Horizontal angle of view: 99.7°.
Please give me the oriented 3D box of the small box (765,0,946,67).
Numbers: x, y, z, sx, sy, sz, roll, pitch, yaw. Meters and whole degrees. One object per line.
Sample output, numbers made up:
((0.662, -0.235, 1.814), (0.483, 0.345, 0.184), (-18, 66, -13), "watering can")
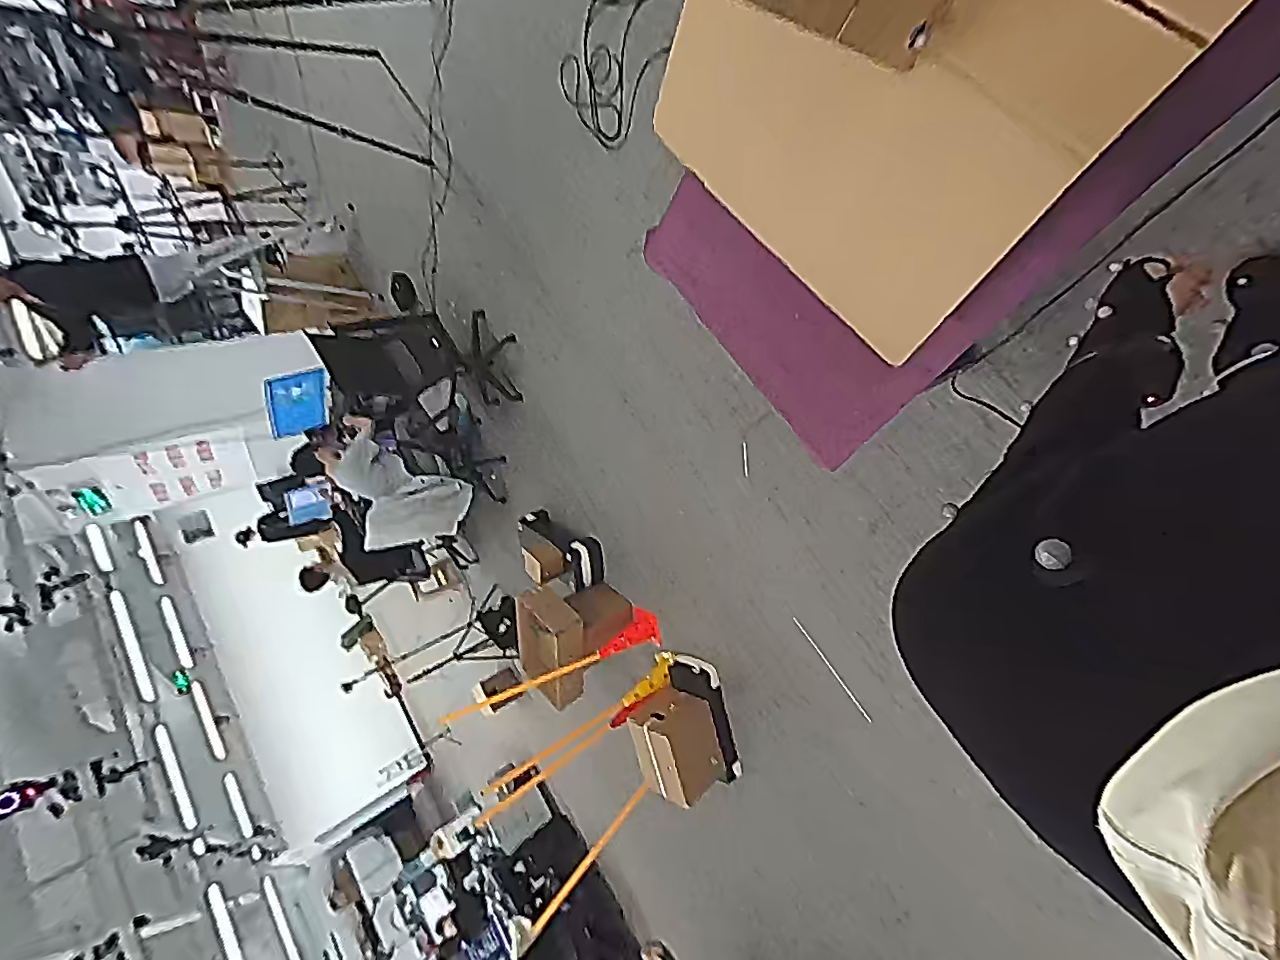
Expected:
((0.227, -0.551, 0.541), (0.179, 0.176, 0.168), (53, 138, 19), "small box")
